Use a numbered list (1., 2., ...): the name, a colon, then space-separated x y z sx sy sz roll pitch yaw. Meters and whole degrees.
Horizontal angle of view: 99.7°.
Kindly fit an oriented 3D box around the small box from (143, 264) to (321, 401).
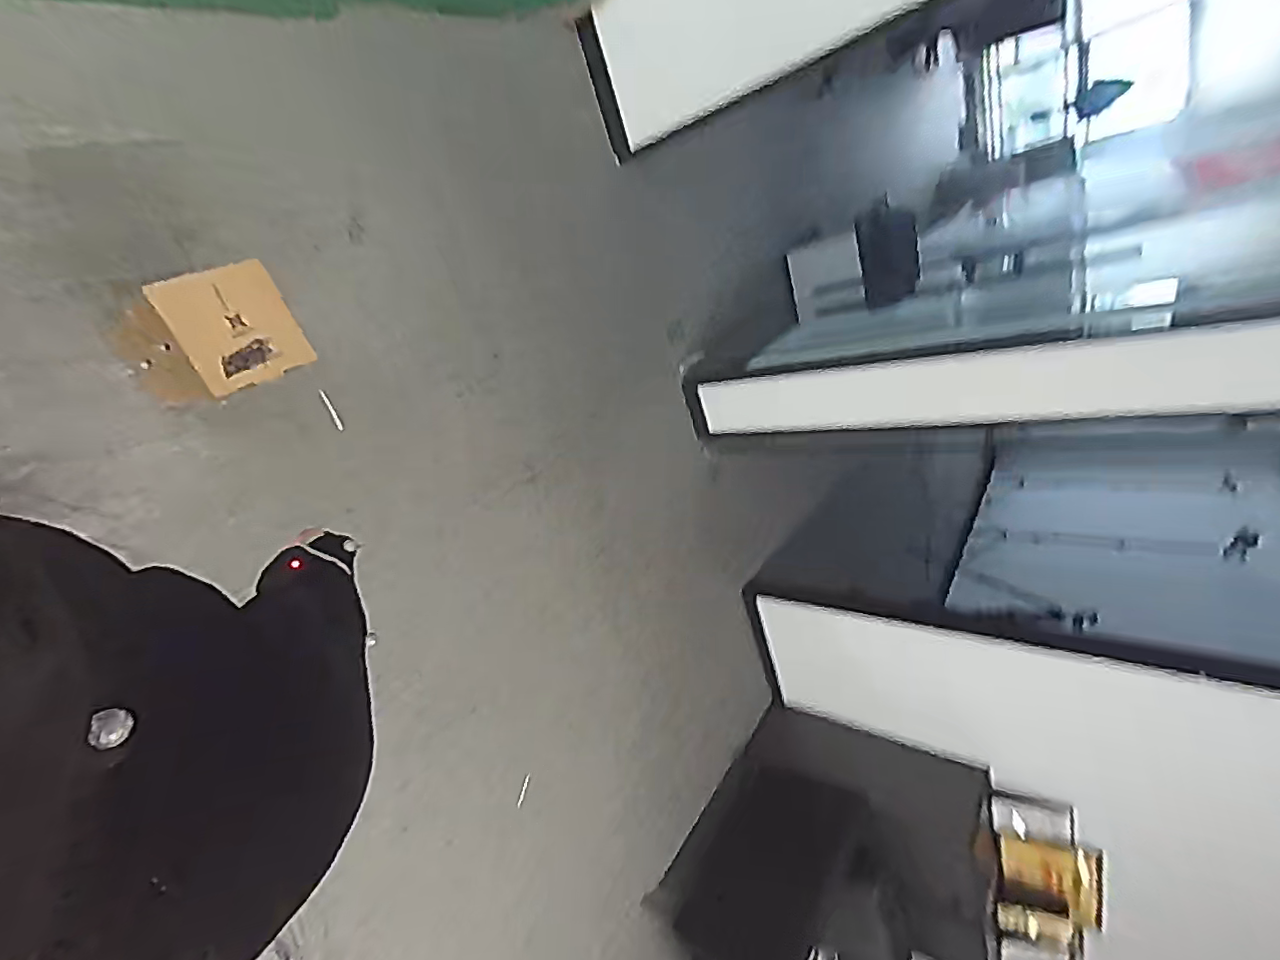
1. small box: -0.686 -0.241 0.913 0.168 0.176 0.179 -40 119 -39

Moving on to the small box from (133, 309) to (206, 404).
1. small box: -0.807 -0.255 1.025 0.179 0.176 0.168 -42 120 -37
